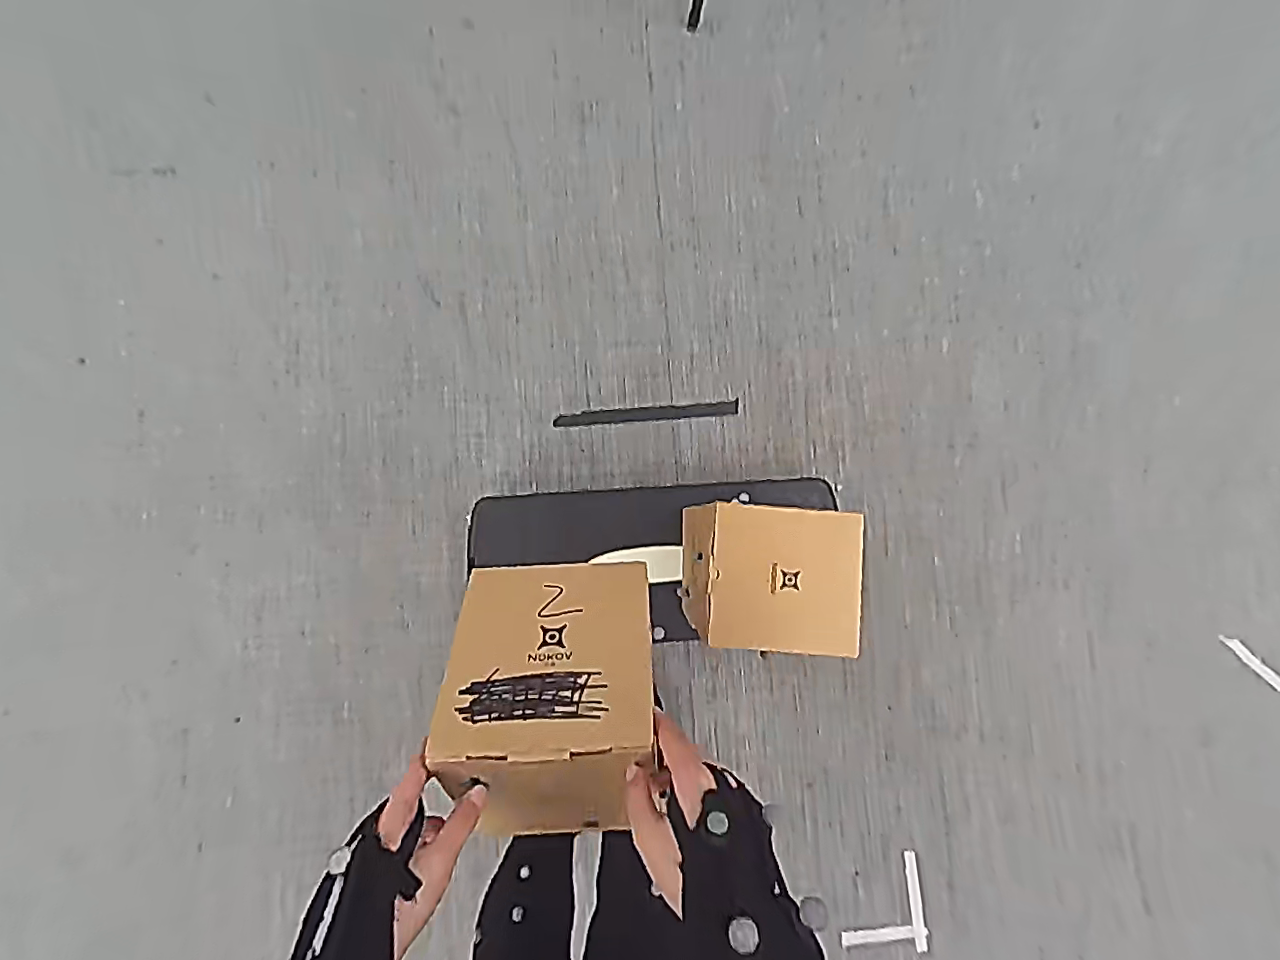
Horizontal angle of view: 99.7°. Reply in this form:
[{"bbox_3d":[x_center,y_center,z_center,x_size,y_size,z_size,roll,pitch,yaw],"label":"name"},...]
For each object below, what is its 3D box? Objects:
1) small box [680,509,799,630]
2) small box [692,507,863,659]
[{"bbox_3d":[0.154,0.137,0.859,0.168,0.176,0.179,1,85,-1],"label":"small box"},{"bbox_3d":[0.166,0.122,0.697,0.179,0.176,0.168,4,86,1],"label":"small box"}]
